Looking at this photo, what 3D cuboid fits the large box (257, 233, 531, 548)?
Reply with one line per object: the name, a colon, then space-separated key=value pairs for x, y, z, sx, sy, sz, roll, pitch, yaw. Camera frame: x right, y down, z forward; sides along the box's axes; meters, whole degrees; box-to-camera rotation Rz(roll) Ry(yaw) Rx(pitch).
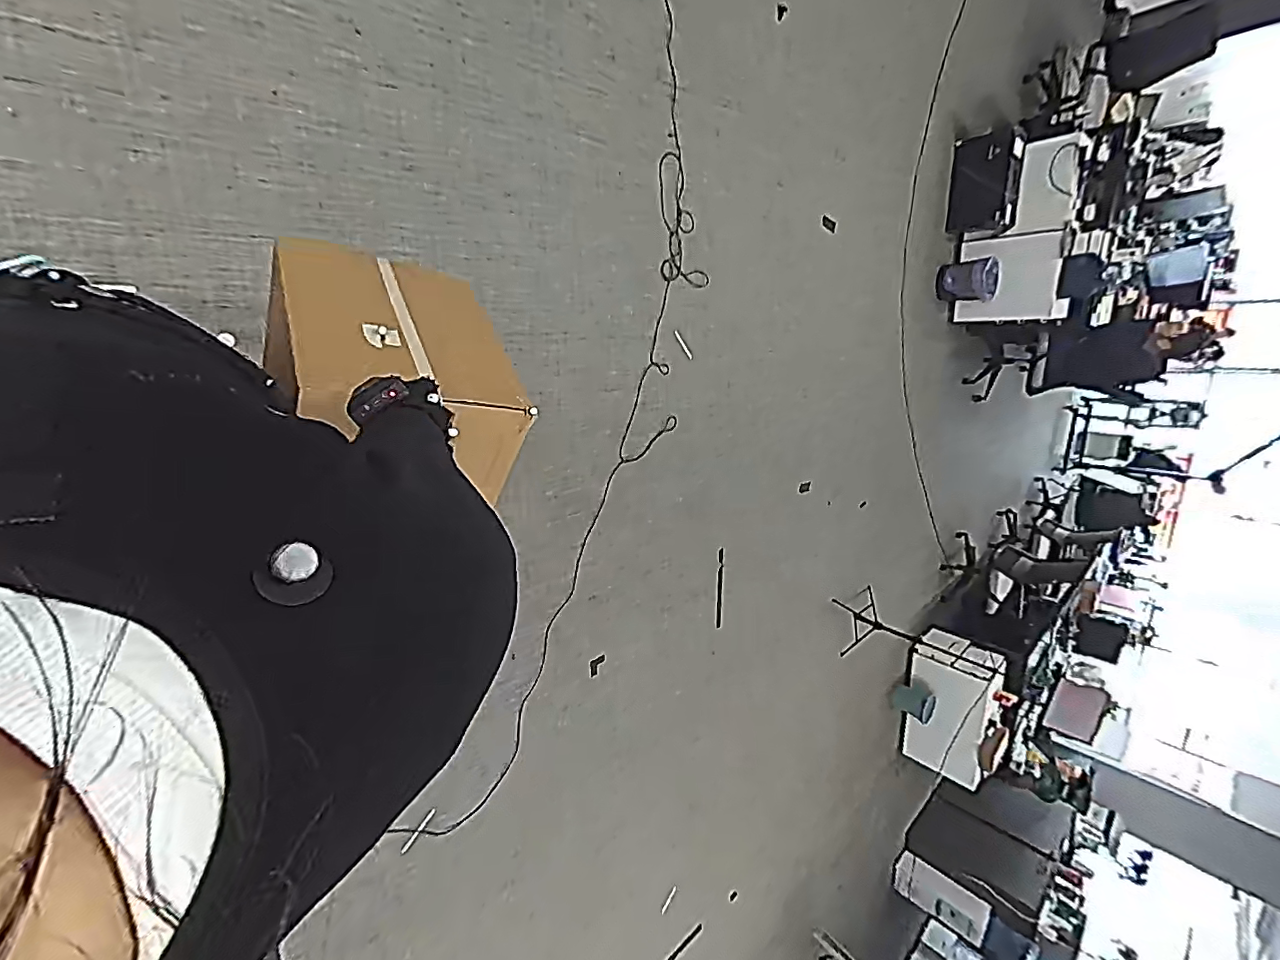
large box: x=-0.440 y=-0.140 z=0.920 sx=0.320 sy=0.408 sz=0.320 roll=0 pitch=136 yaw=-39
